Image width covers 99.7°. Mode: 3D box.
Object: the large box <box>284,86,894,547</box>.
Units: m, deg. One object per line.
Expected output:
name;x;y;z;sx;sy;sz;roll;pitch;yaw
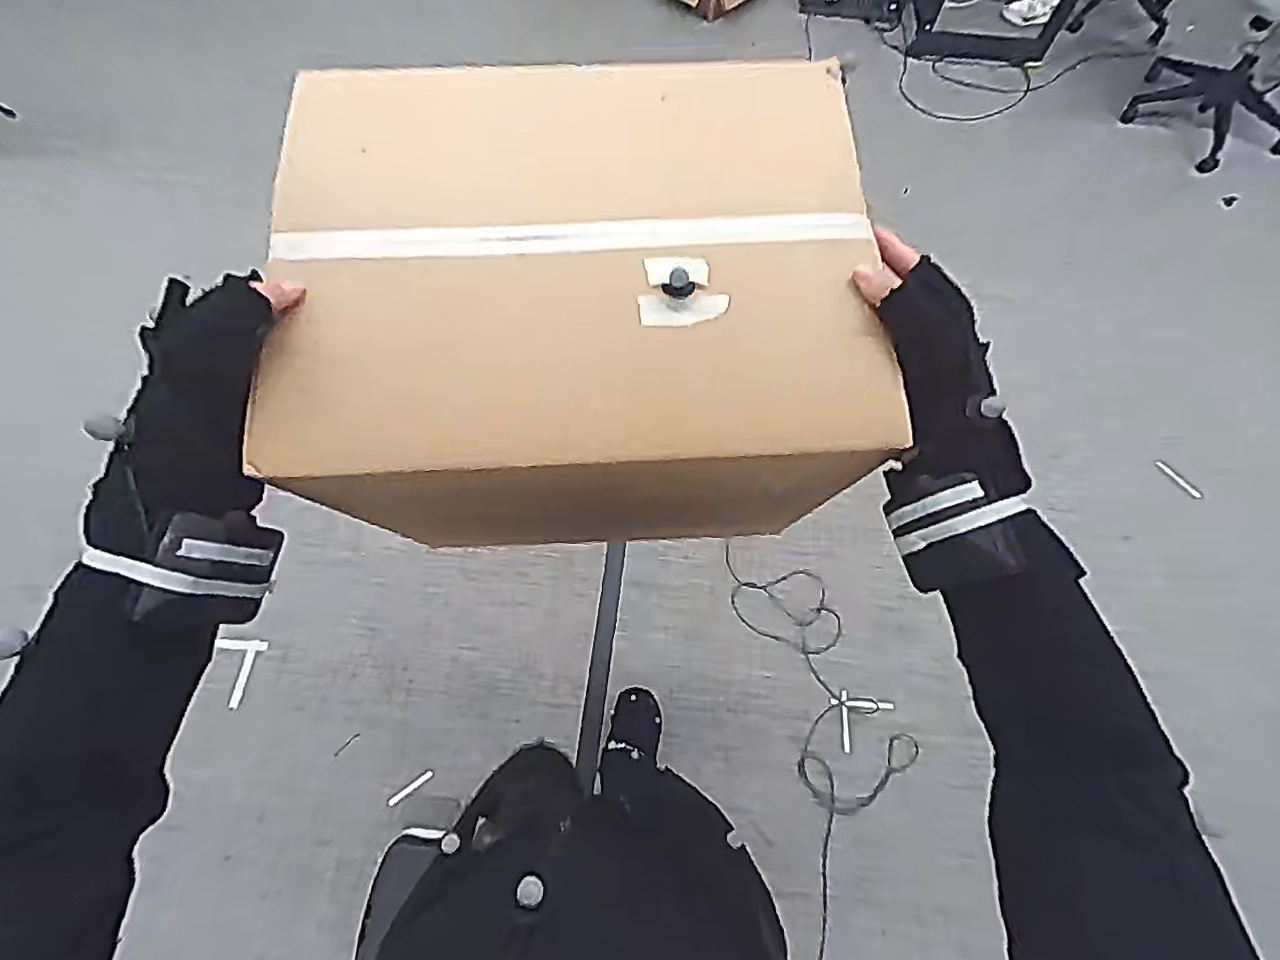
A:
large box;-0.042;-0.120;0.531;0.408;0.320;0.320;-3;75;-2
